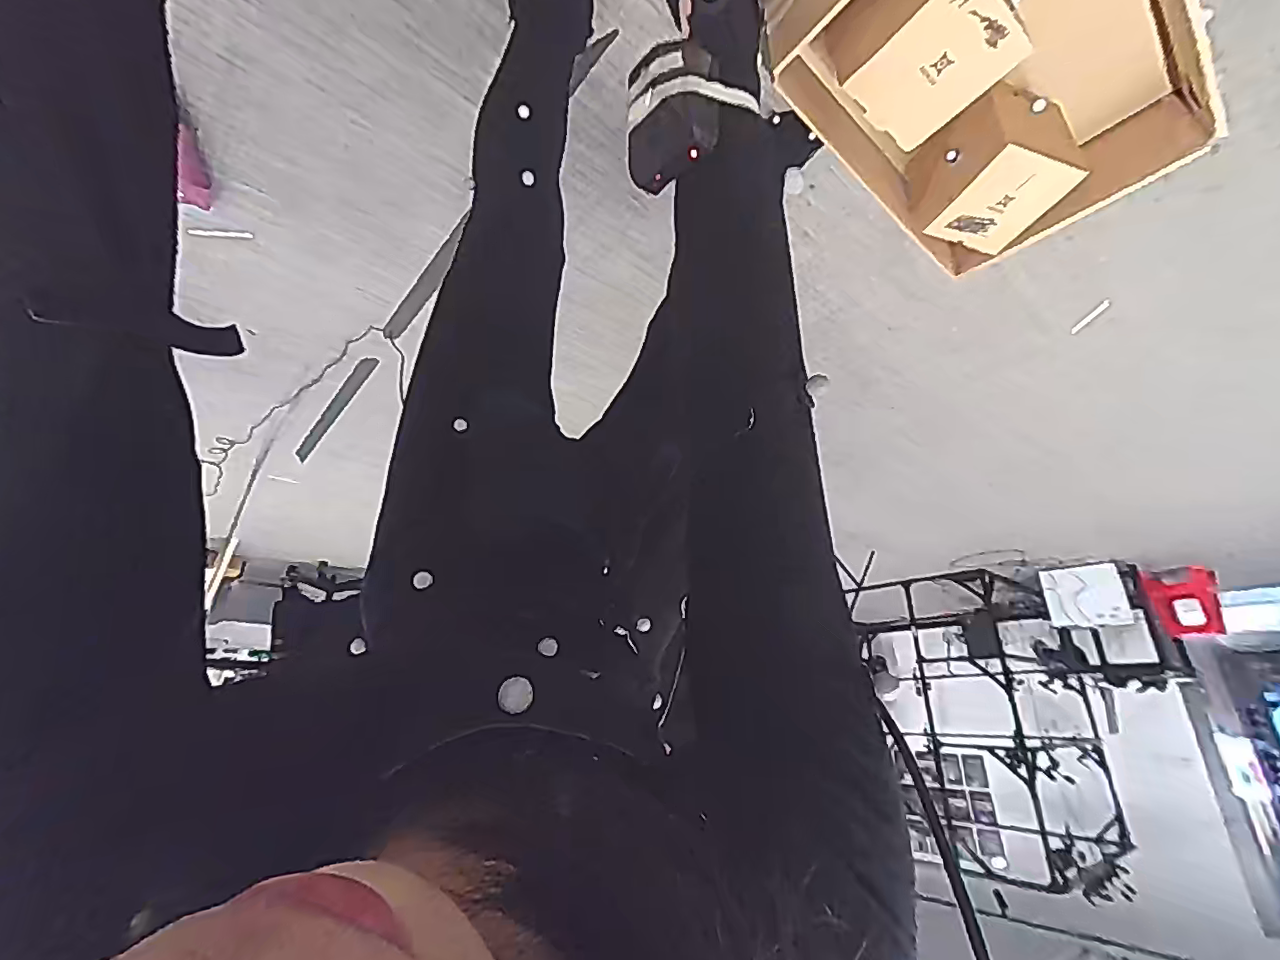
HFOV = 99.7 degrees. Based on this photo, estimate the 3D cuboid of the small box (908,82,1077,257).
[{"bbox_3d":[0.594,-0.532,0.938,0.168,0.176,0.179,8,155,-16],"label":"small box"}]
